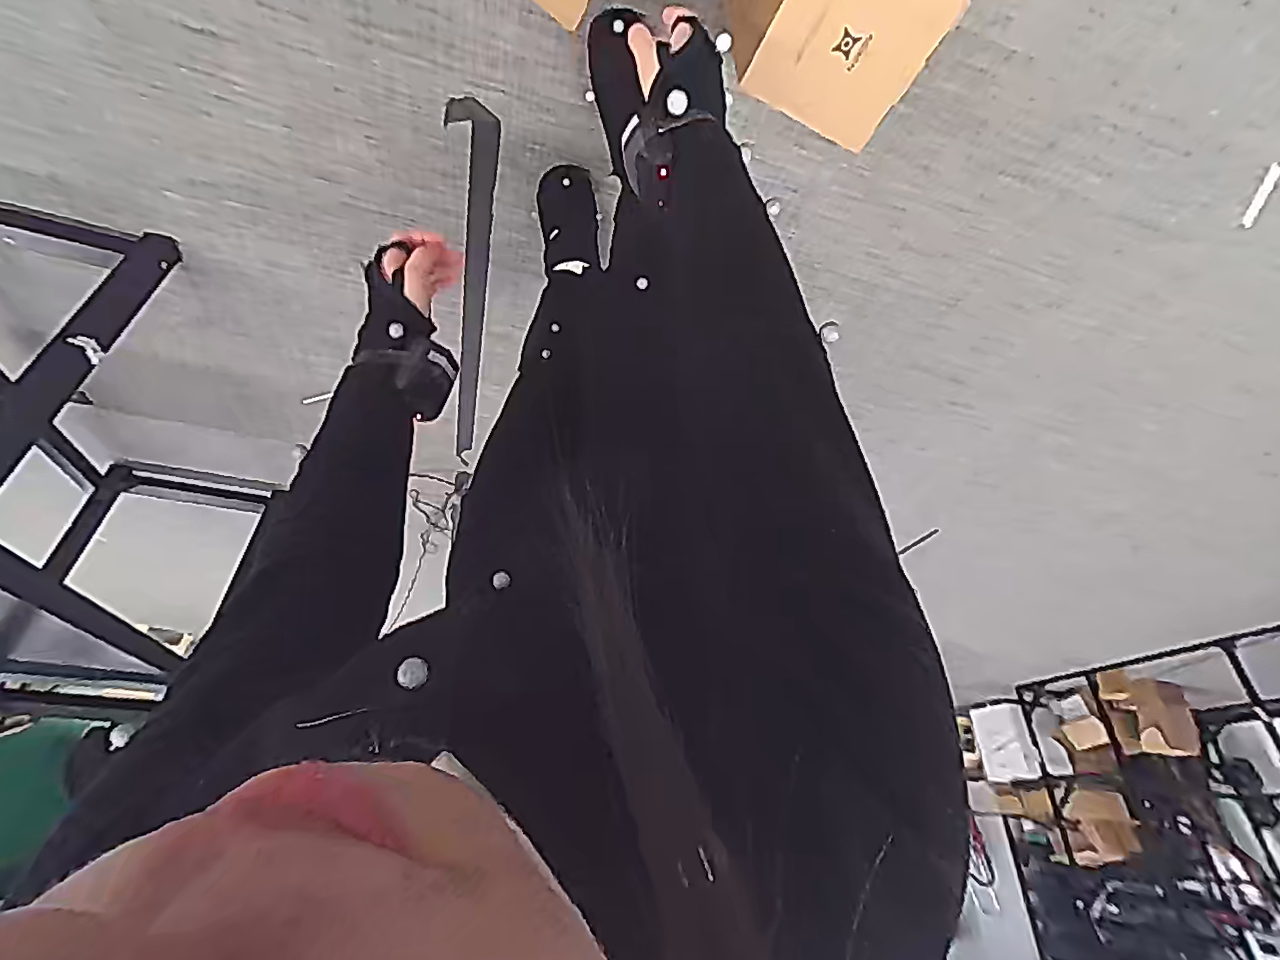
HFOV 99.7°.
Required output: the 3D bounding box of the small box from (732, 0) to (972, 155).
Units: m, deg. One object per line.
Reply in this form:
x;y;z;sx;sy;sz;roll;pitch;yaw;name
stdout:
0.222;-0.521;0.608;0.179;0.176;0.168;16;144;-20;small box
